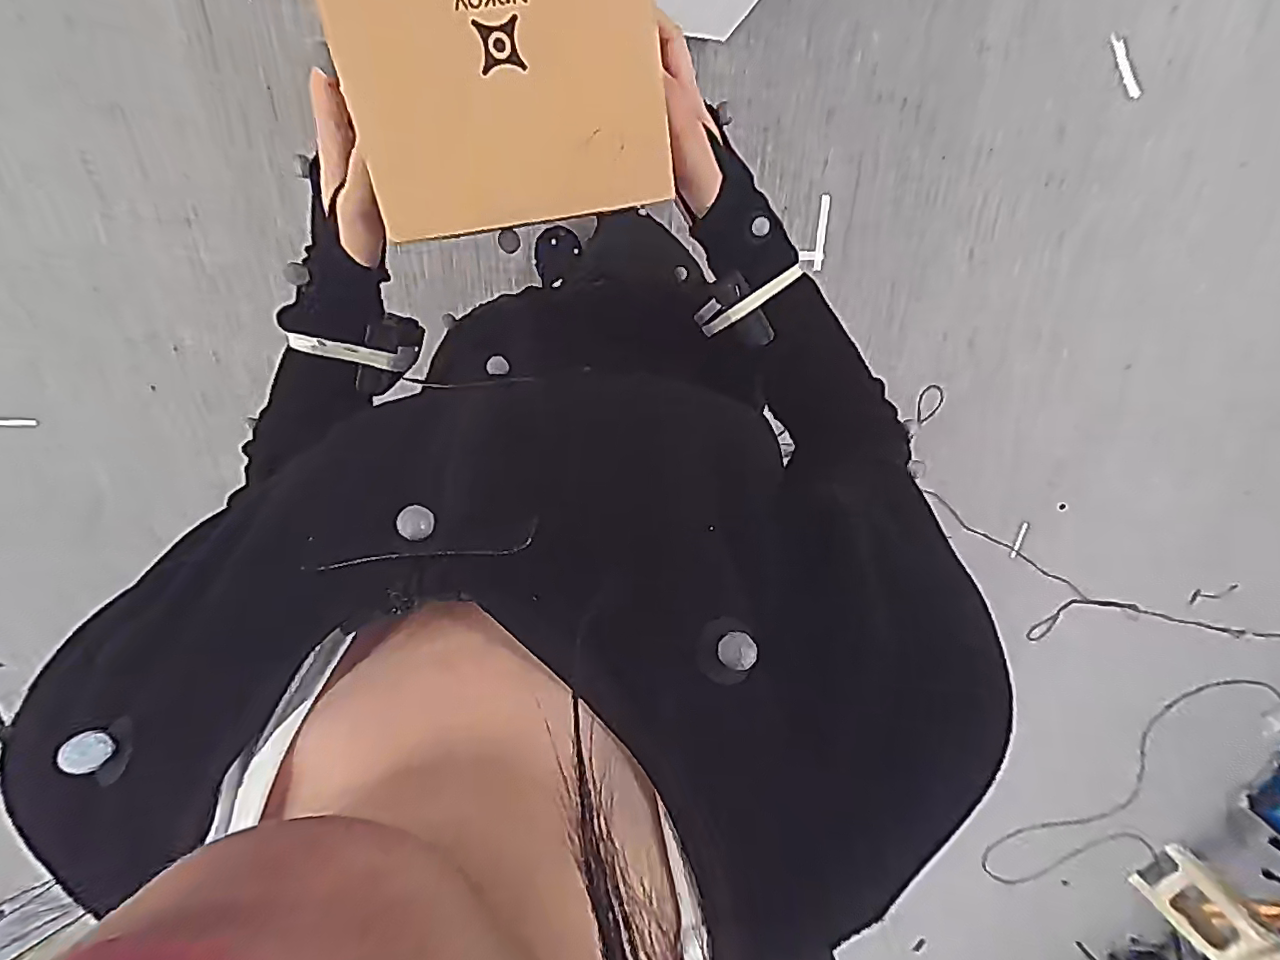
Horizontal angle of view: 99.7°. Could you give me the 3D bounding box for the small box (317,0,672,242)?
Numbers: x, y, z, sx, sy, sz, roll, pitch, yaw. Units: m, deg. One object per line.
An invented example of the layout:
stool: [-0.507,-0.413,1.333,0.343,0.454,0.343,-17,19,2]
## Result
small box: [-0.083,-0.259,0.343,0.168,0.176,0.179,-12,115,-5]
